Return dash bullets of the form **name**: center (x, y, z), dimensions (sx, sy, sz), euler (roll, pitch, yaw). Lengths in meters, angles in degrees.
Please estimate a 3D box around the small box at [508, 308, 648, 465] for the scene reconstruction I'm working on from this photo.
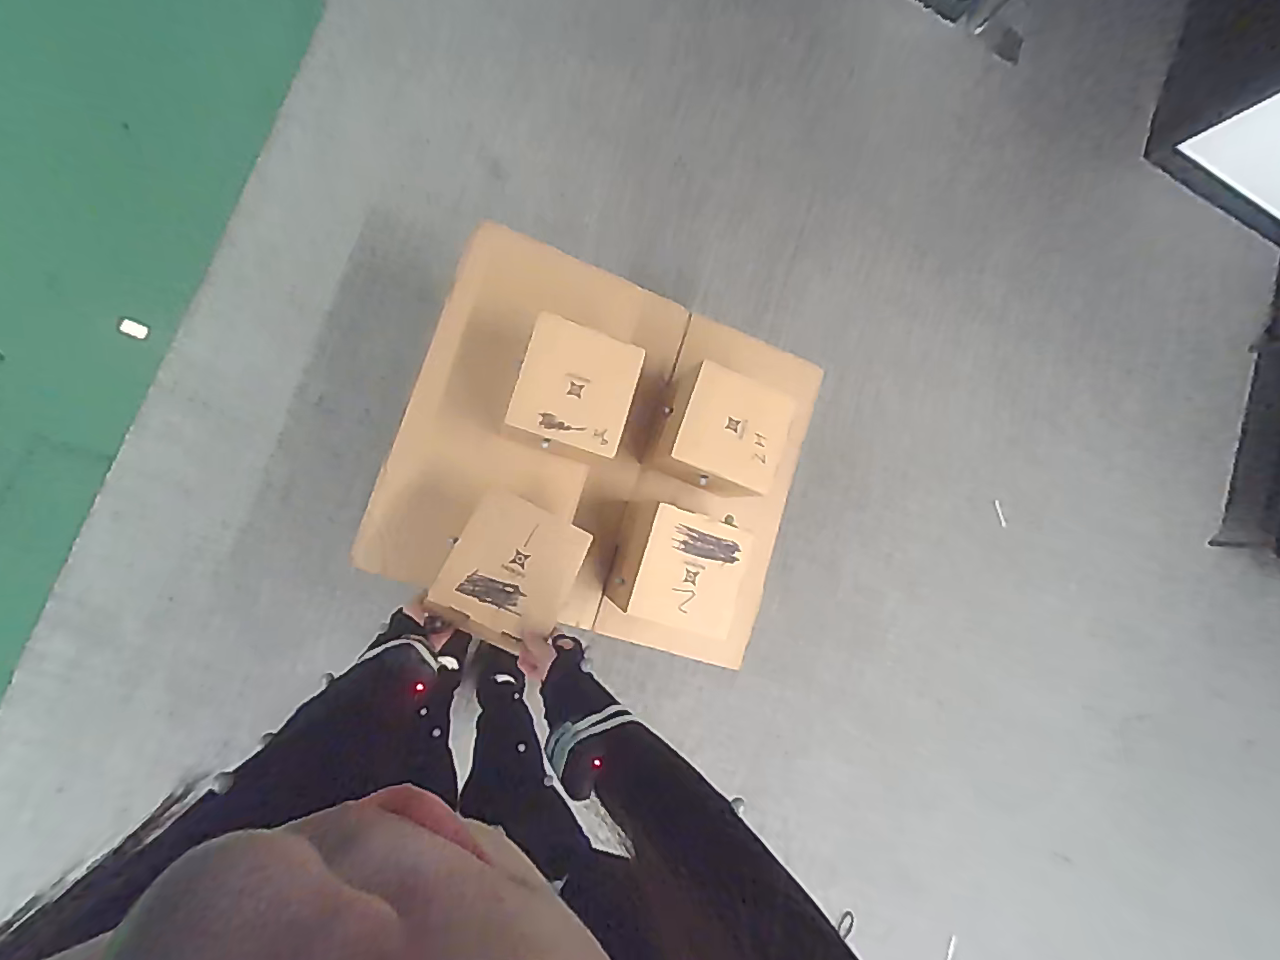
- **small box**: center (-0.105, -0.133, 0.849), dimensions (0.168, 0.176, 0.179), euler (18, 82, -12)

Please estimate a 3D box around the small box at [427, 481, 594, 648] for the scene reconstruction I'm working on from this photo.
- **small box**: center (-0.194, 0.135, 0.793), dimensions (0.168, 0.176, 0.179), euler (30, 62, -12)
